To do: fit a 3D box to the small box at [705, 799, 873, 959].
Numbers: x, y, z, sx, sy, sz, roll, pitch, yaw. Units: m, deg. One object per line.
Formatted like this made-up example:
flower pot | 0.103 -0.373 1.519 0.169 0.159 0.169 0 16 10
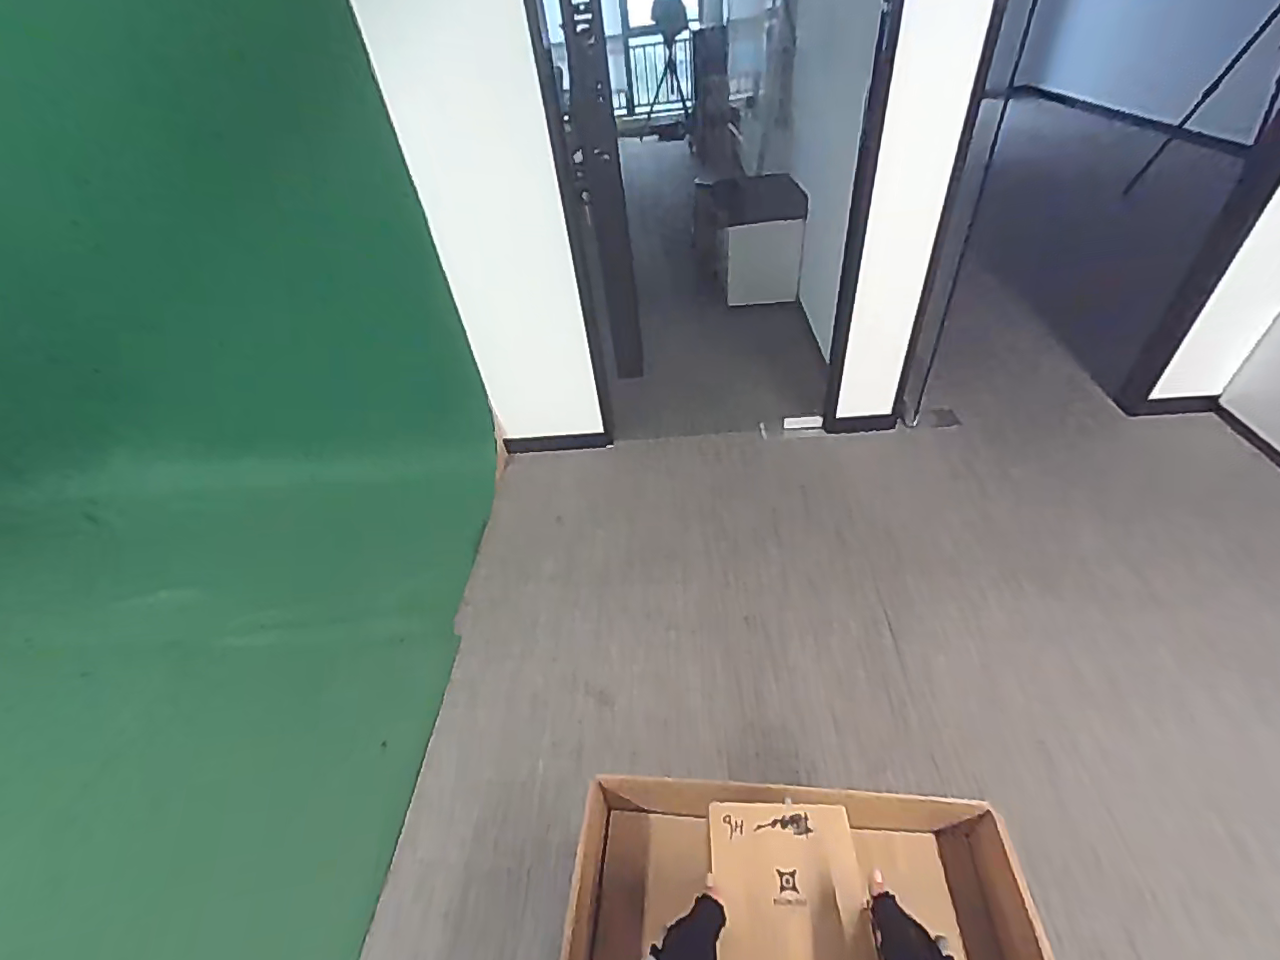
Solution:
small box | 0.164 0.508 0.647 0.168 0.176 0.179 0 43 4
